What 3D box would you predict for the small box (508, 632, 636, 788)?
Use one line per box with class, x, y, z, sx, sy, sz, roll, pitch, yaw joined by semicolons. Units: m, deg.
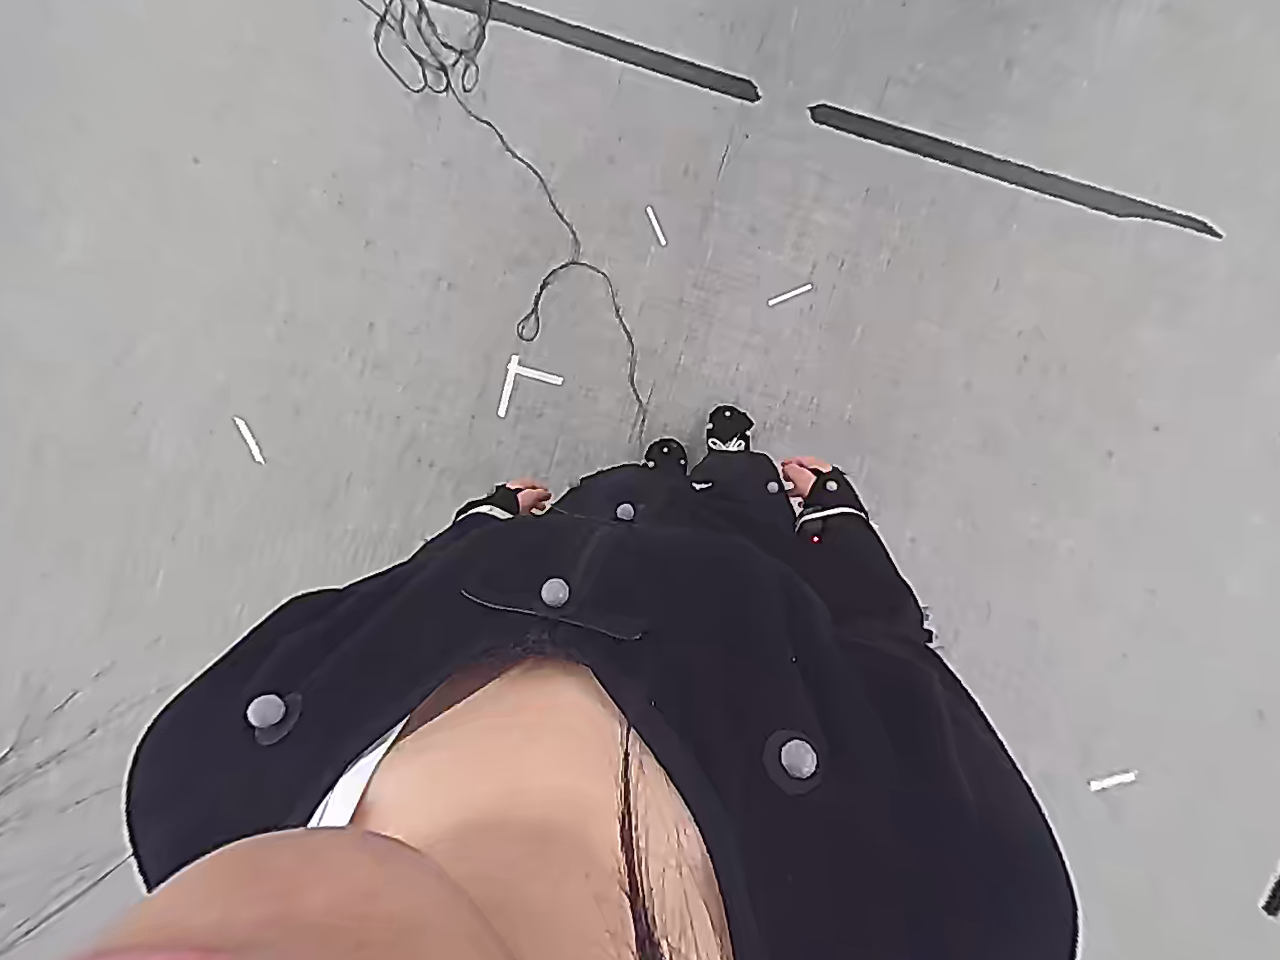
small box;-0.114;0.404;0.985;0.168;0.176;0.179;23;96;2
